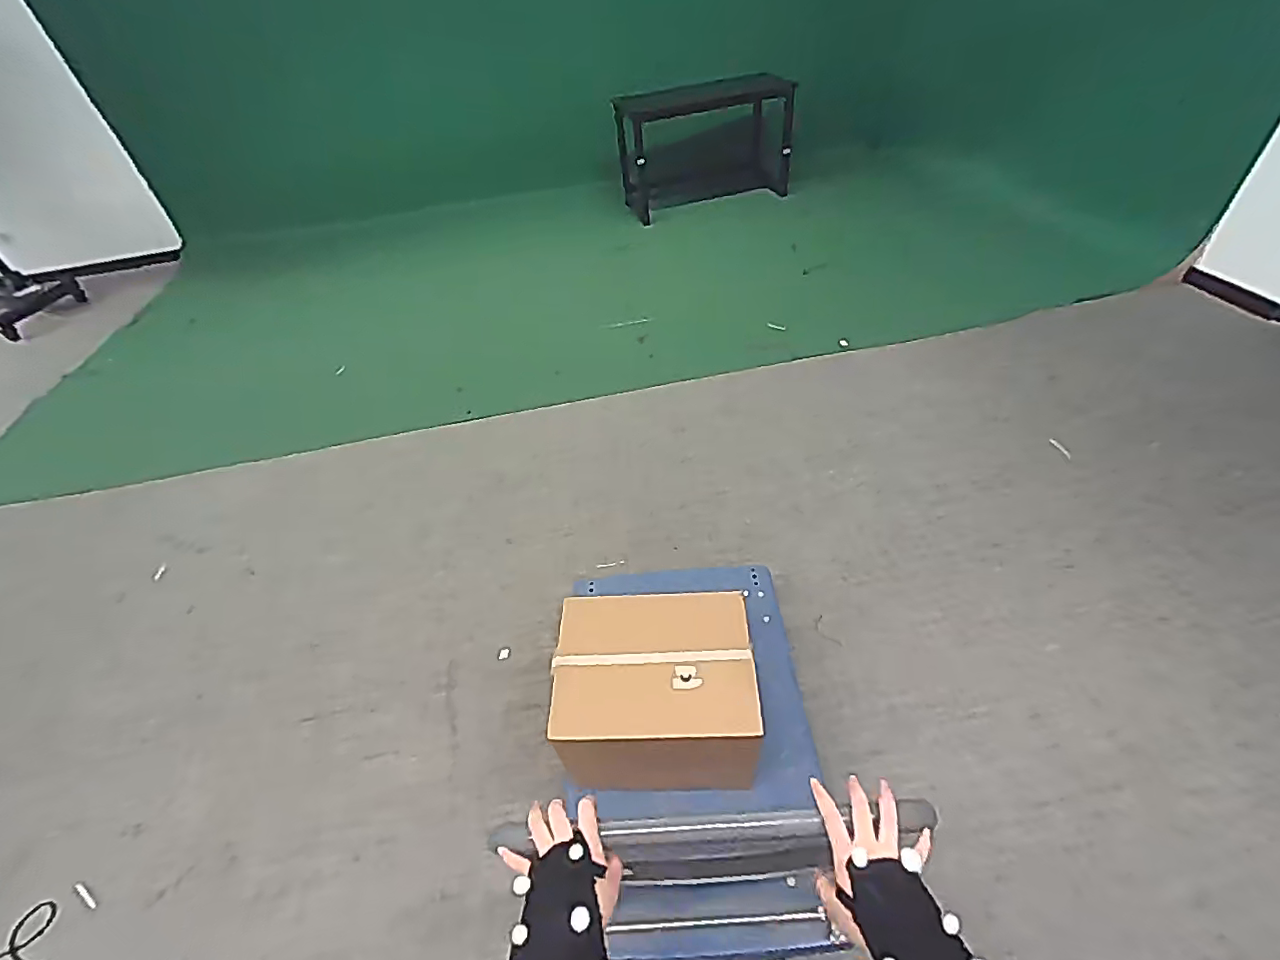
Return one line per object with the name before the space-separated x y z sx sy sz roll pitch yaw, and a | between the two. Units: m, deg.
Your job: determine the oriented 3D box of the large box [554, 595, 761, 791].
large box | 0.039 0.486 1.230 0.408 0.320 0.320 -3 44 3
